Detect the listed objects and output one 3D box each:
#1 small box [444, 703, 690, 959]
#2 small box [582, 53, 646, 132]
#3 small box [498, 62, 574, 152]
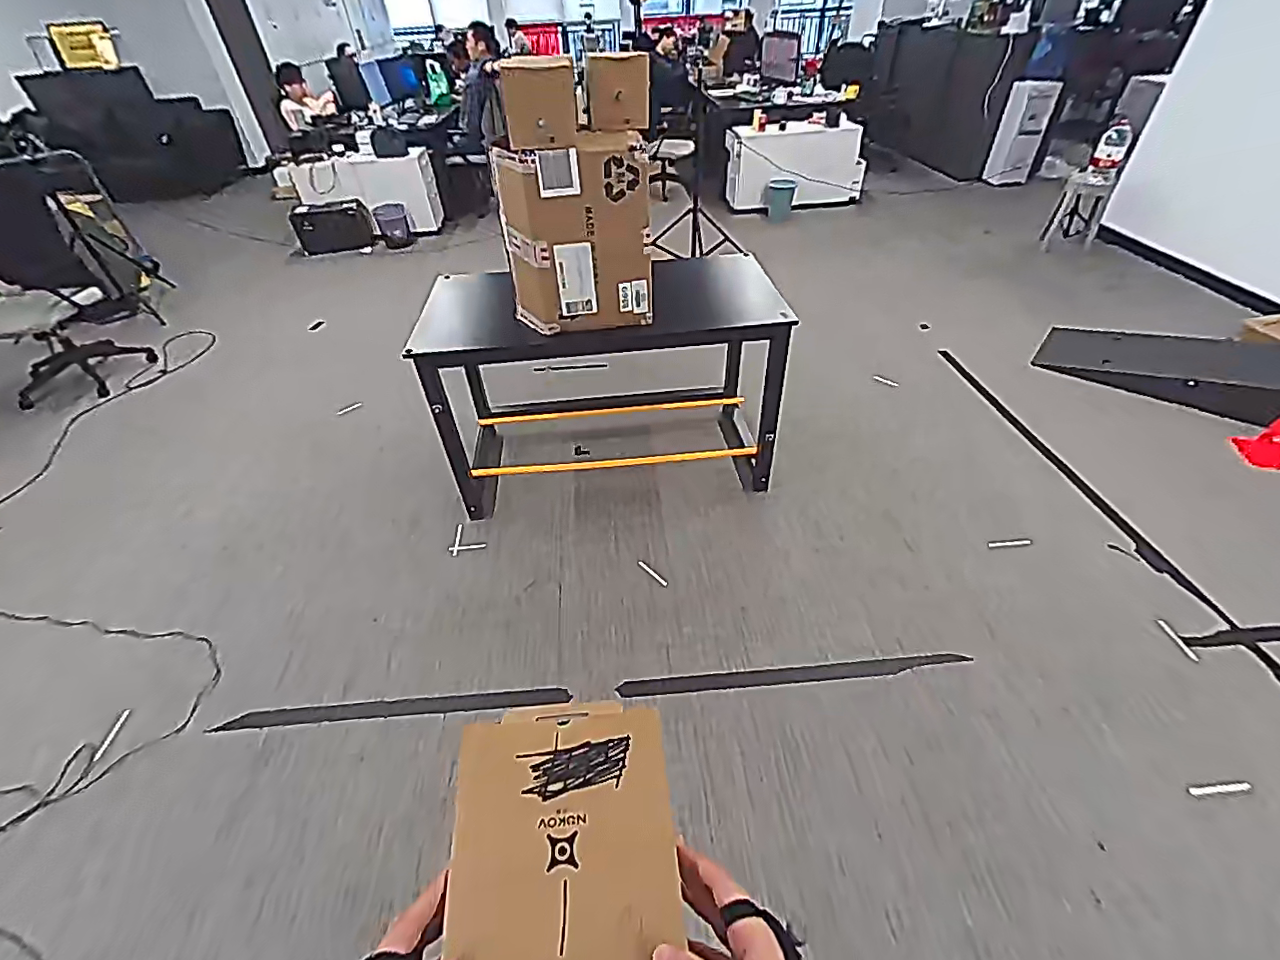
[{"bbox_3d":[-0.056,0.316,0.467,0.168,0.176,0.179,-4,49,-4],"label":"small box"},{"bbox_3d":[-0.074,-1.101,1.540,0.168,0.176,0.179,-5,42,-6],"label":"small box"},{"bbox_3d":[-0.258,-0.942,1.364,0.168,0.176,0.179,-7,43,-7],"label":"small box"}]
